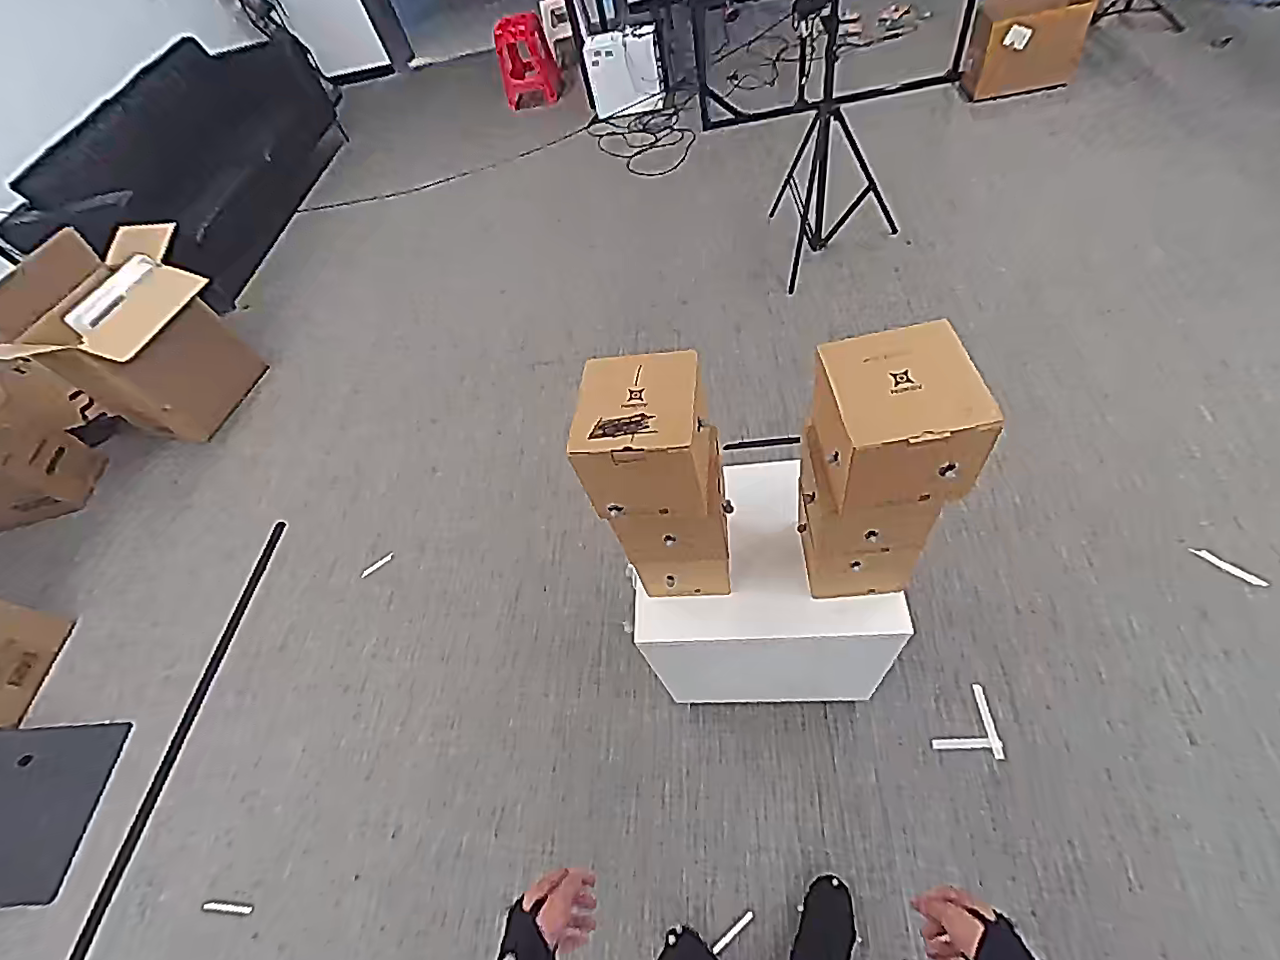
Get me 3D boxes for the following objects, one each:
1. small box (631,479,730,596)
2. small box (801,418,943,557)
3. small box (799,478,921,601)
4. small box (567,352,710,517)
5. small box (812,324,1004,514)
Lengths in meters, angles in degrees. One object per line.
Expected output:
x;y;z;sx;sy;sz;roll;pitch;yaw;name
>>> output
0.084;0.119;1.050;0.168;0.176;0.179;-4;55;11;small box
0.350;0.011;0.850;0.168;0.176;0.179;-6;55;10;small box
0.385;0.102;0.983;0.168;0.176;0.179;-8;55;11;small box
0.010;-0.057;0.782;0.168;0.176;0.179;-2;55;13;small box
0.330;-0.069;0.708;0.168;0.176;0.179;-10;55;7;small box
